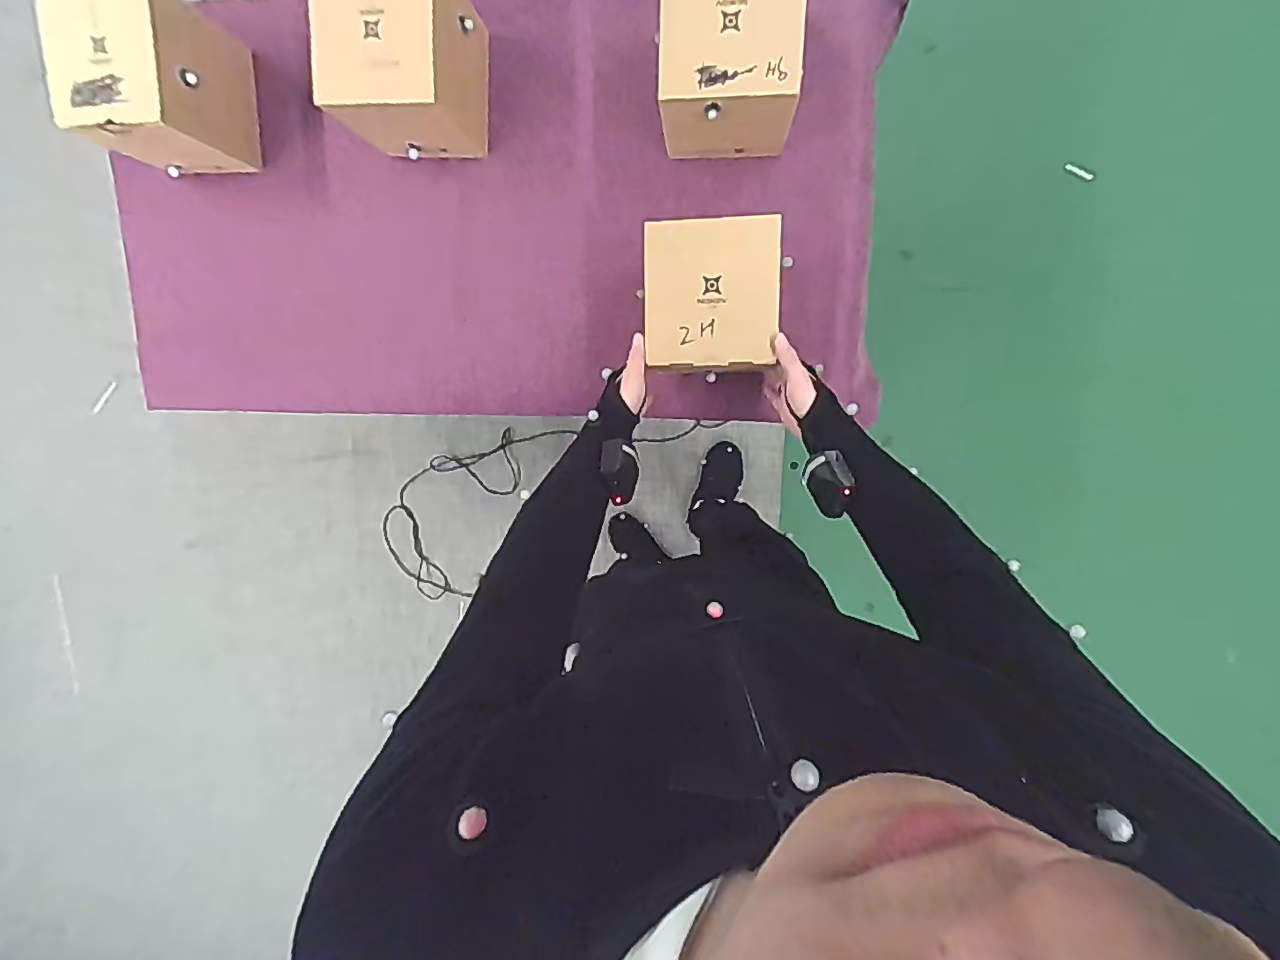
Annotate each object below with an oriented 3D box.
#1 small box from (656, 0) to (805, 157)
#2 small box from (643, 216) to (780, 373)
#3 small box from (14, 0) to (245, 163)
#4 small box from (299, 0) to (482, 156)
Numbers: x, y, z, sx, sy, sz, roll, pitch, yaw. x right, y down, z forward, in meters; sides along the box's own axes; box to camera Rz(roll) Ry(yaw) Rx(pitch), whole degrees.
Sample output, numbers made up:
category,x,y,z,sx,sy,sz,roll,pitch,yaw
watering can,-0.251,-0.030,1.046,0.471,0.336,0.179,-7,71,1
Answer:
category,x,y,z,sx,sy,sz,roll,pitch,yaw
small box,0.110,-0.540,0.688,0.168,0.176,0.179,3,101,6
small box,0.094,-0.241,0.741,0.168,0.176,0.179,1,98,8
small box,-0.700,-0.568,0.763,0.168,0.176,0.179,2,101,5
small box,-0.323,-0.568,0.729,0.168,0.176,0.179,4,102,6
